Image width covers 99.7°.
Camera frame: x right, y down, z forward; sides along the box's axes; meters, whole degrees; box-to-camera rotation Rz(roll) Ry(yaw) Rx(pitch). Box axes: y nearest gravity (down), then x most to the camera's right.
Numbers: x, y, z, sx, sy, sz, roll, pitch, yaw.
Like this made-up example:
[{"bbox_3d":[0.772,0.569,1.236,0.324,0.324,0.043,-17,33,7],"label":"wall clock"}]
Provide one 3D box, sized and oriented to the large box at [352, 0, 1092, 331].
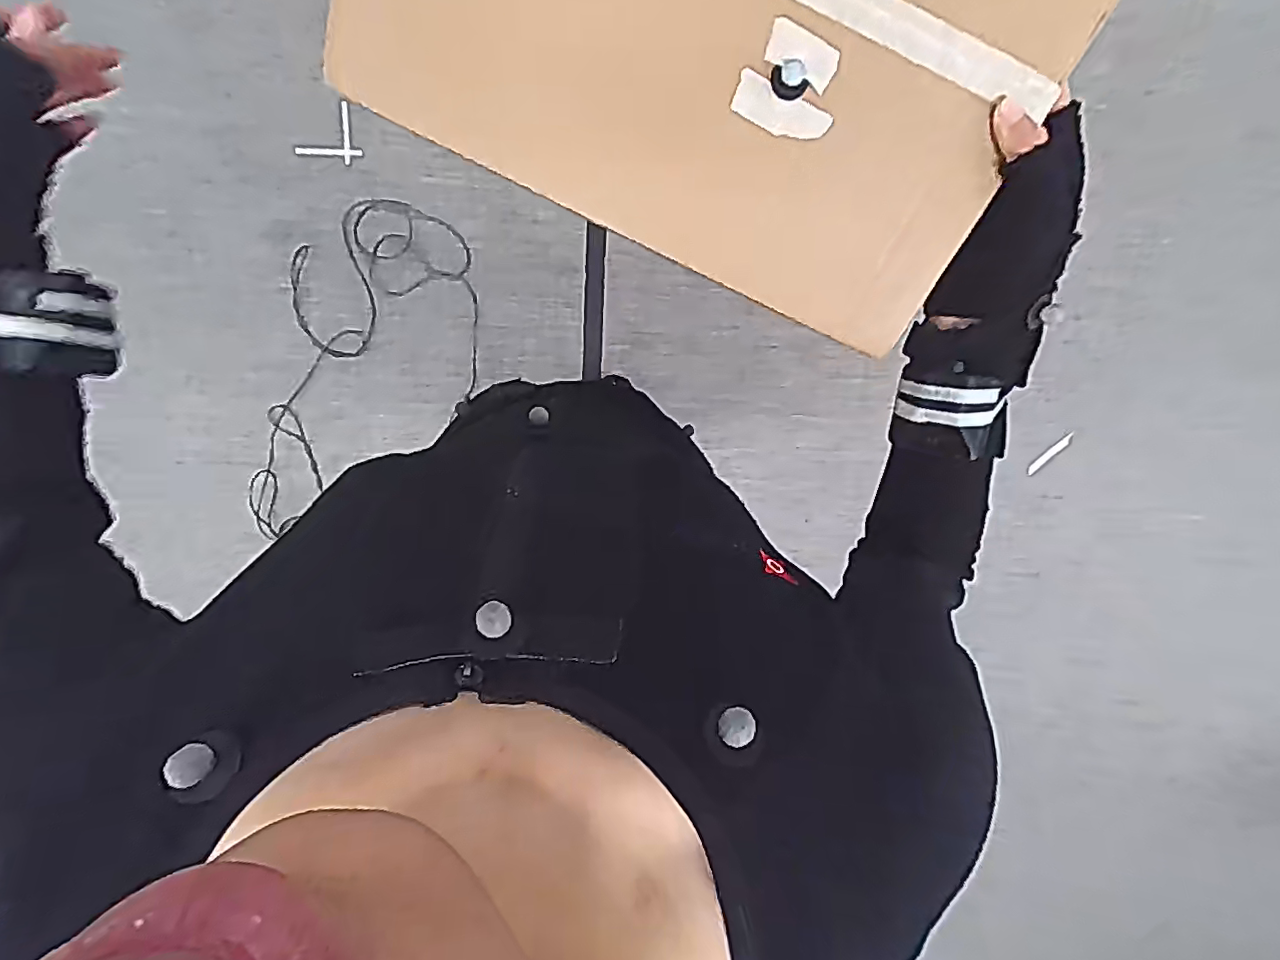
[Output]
[{"bbox_3d":[0.063,-0.363,0.438,0.408,0.320,0.320,24,115,-4],"label":"large box"}]
